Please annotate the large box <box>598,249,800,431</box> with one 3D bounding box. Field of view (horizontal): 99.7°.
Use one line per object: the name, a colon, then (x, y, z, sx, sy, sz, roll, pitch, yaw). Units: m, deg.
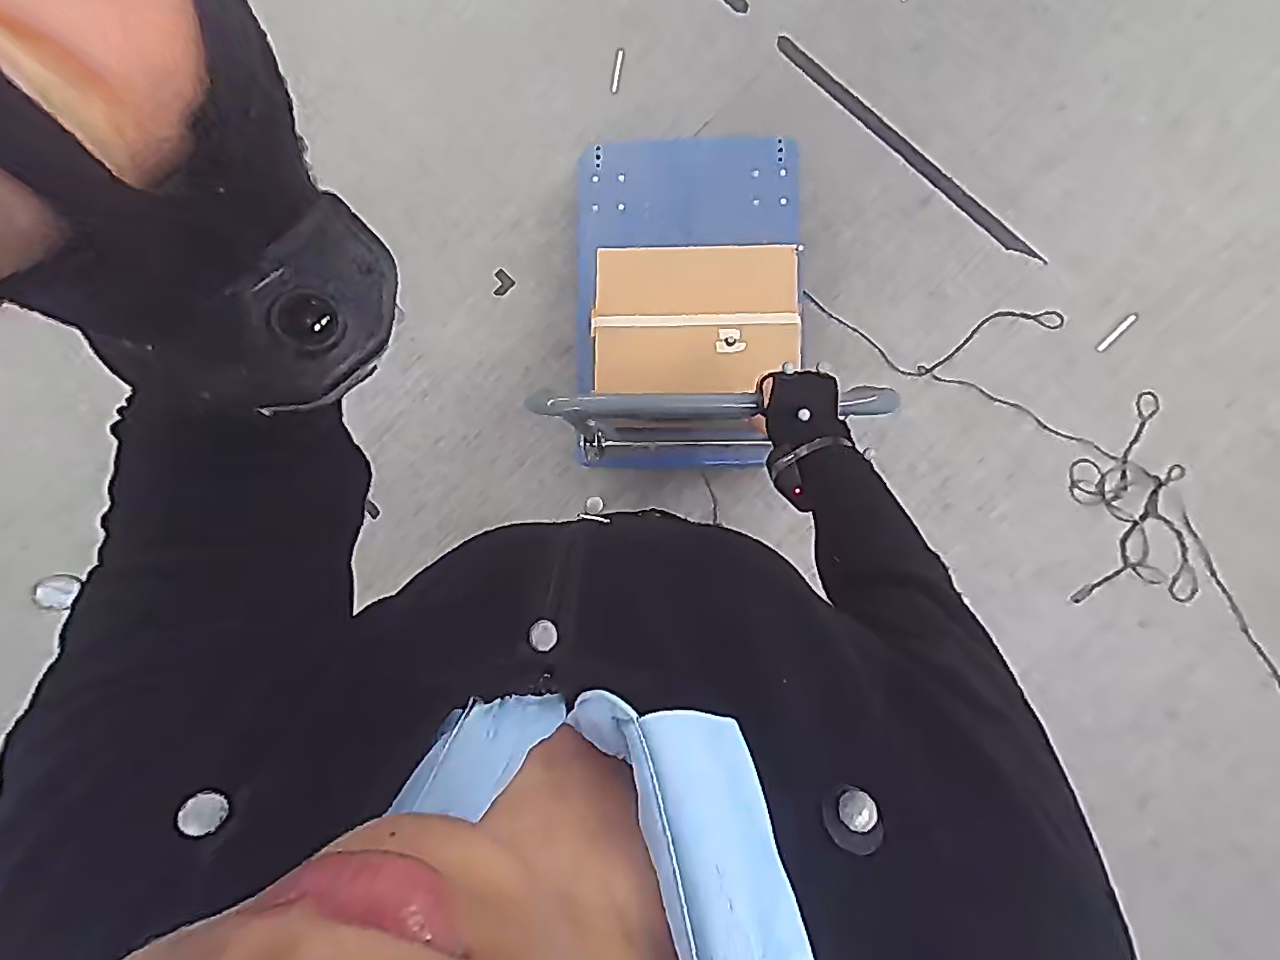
large box: (0.118, -0.296, 1.228, 0.408, 0.320, 0.320, 0, 85, 2)
